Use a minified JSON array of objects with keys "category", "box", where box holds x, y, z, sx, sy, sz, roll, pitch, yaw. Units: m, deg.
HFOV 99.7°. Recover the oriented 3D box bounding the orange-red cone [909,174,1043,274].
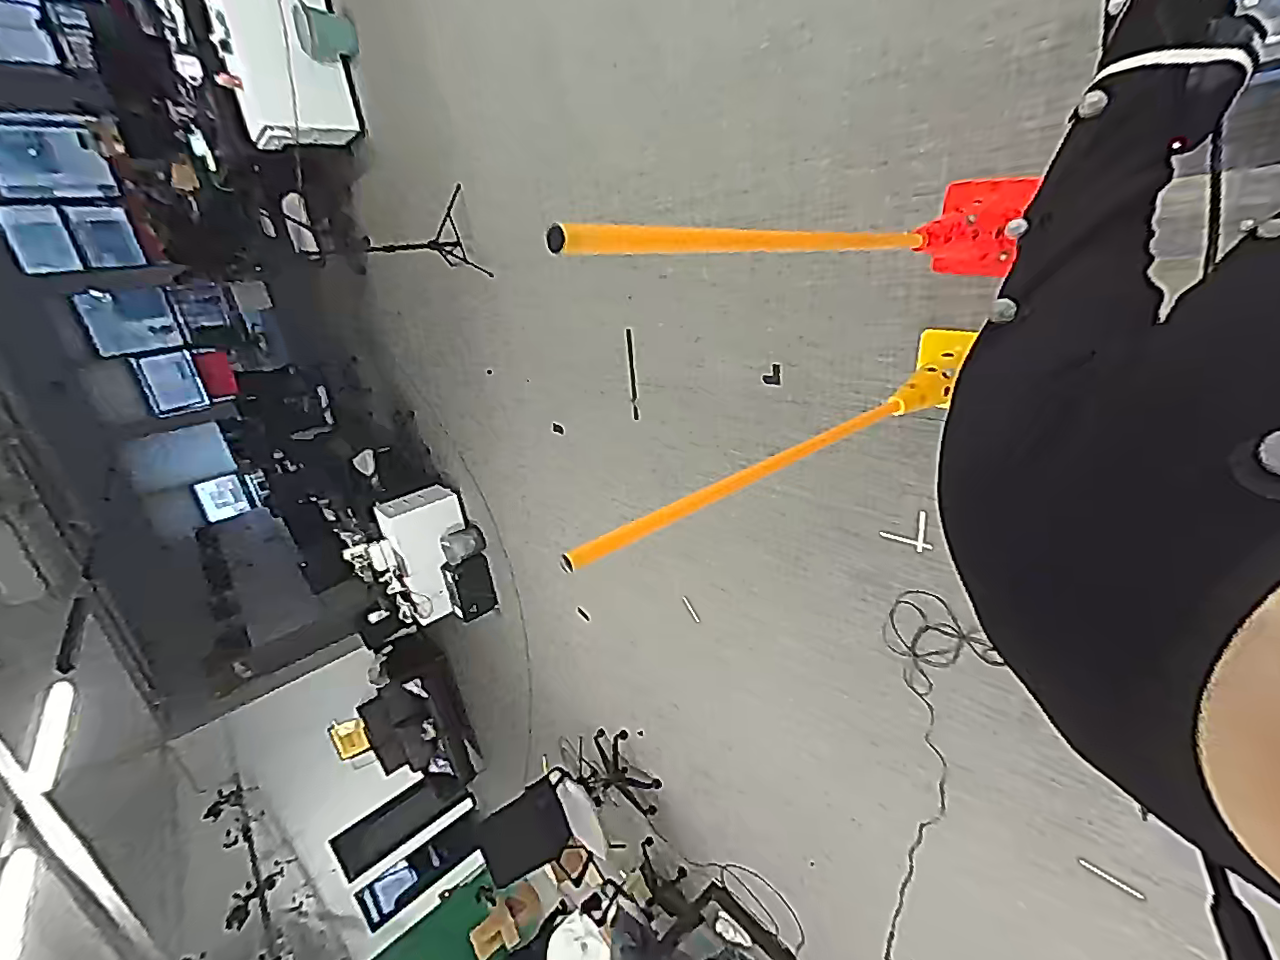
[{"category":"orange-red cone","box":[0.650,-0.523,1.120,0.198,0.360,0.199,26,127,40]}]
